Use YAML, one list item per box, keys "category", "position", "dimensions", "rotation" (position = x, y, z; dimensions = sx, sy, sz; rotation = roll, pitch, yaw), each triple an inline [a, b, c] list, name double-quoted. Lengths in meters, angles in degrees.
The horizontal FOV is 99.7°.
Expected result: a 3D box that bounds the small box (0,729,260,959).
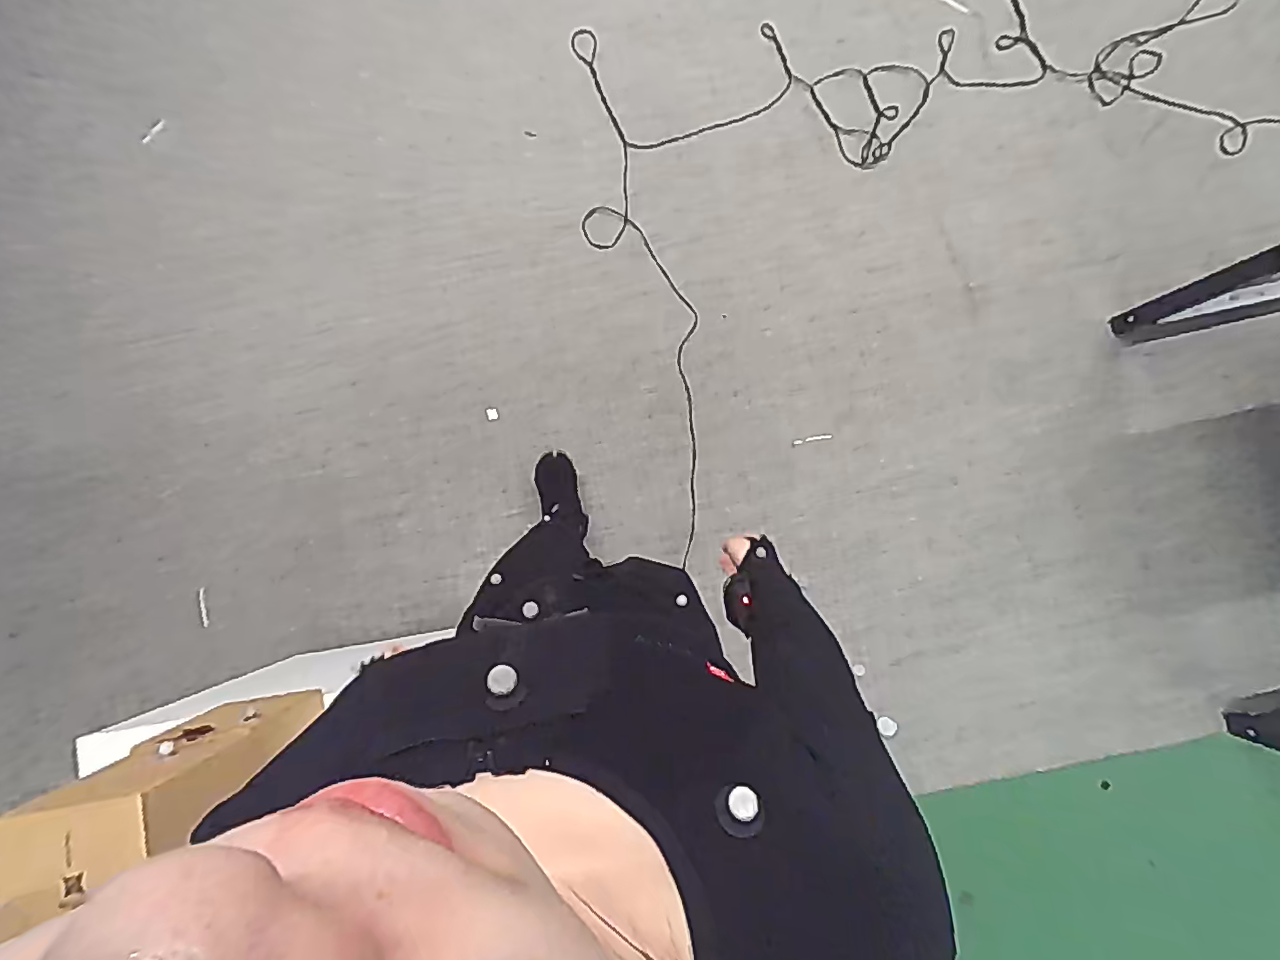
- category: "small box"
  position: [-0.582, 0.420, 0.630]
  dimensions: [0.168, 0.176, 0.179]
  rotation: [-10, 86, -1]
